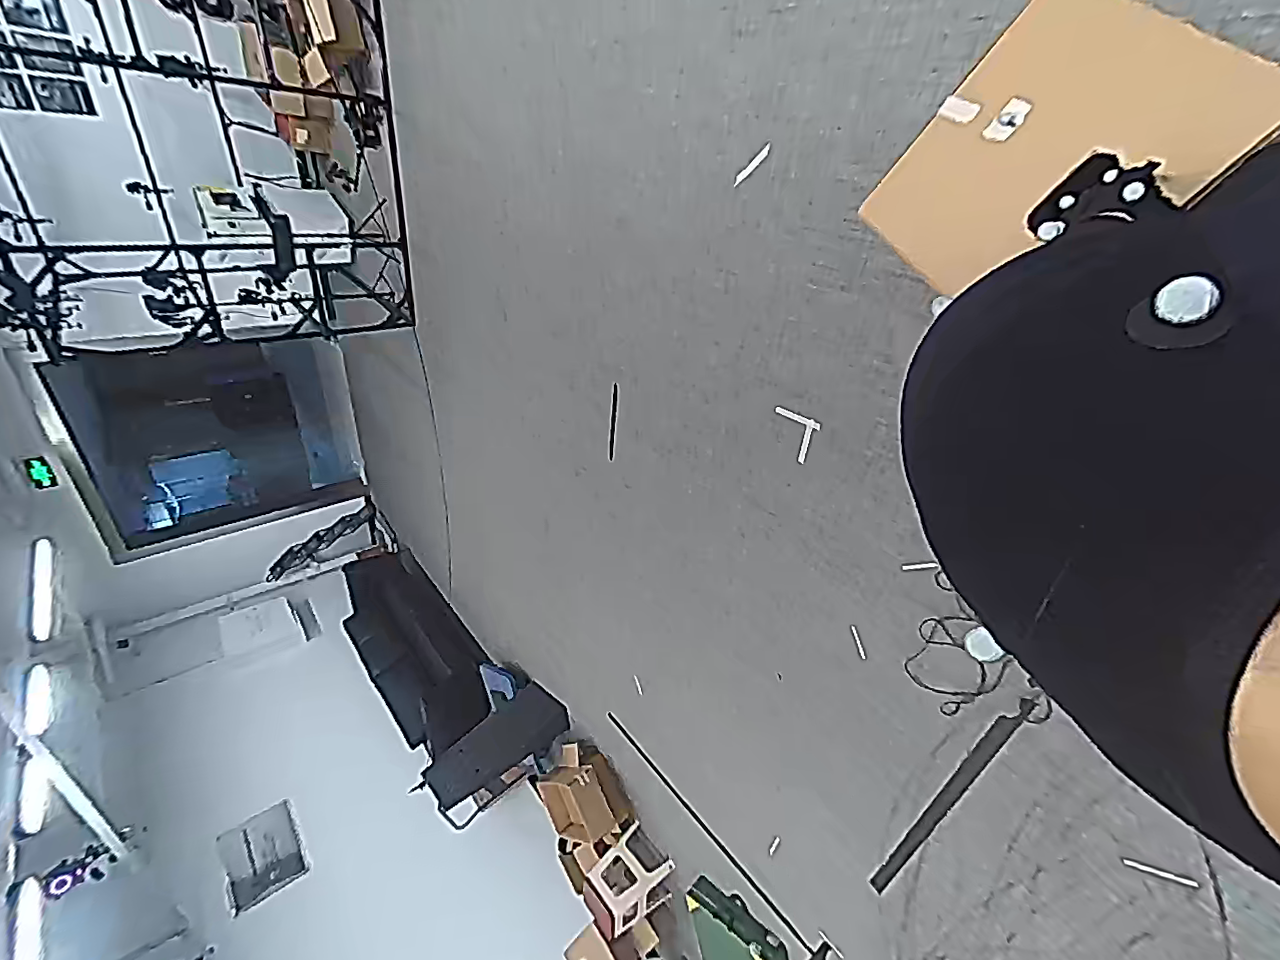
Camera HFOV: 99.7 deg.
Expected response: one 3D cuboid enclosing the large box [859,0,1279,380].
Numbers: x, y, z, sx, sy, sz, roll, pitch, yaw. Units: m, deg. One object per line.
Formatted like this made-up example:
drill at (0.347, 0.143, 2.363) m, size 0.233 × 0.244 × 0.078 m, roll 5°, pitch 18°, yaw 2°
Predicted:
large box at (0.608, -0.379, 0.780) m, size 0.320 × 0.408 × 0.320 m, roll -47°, pitch 57°, yaw 39°
